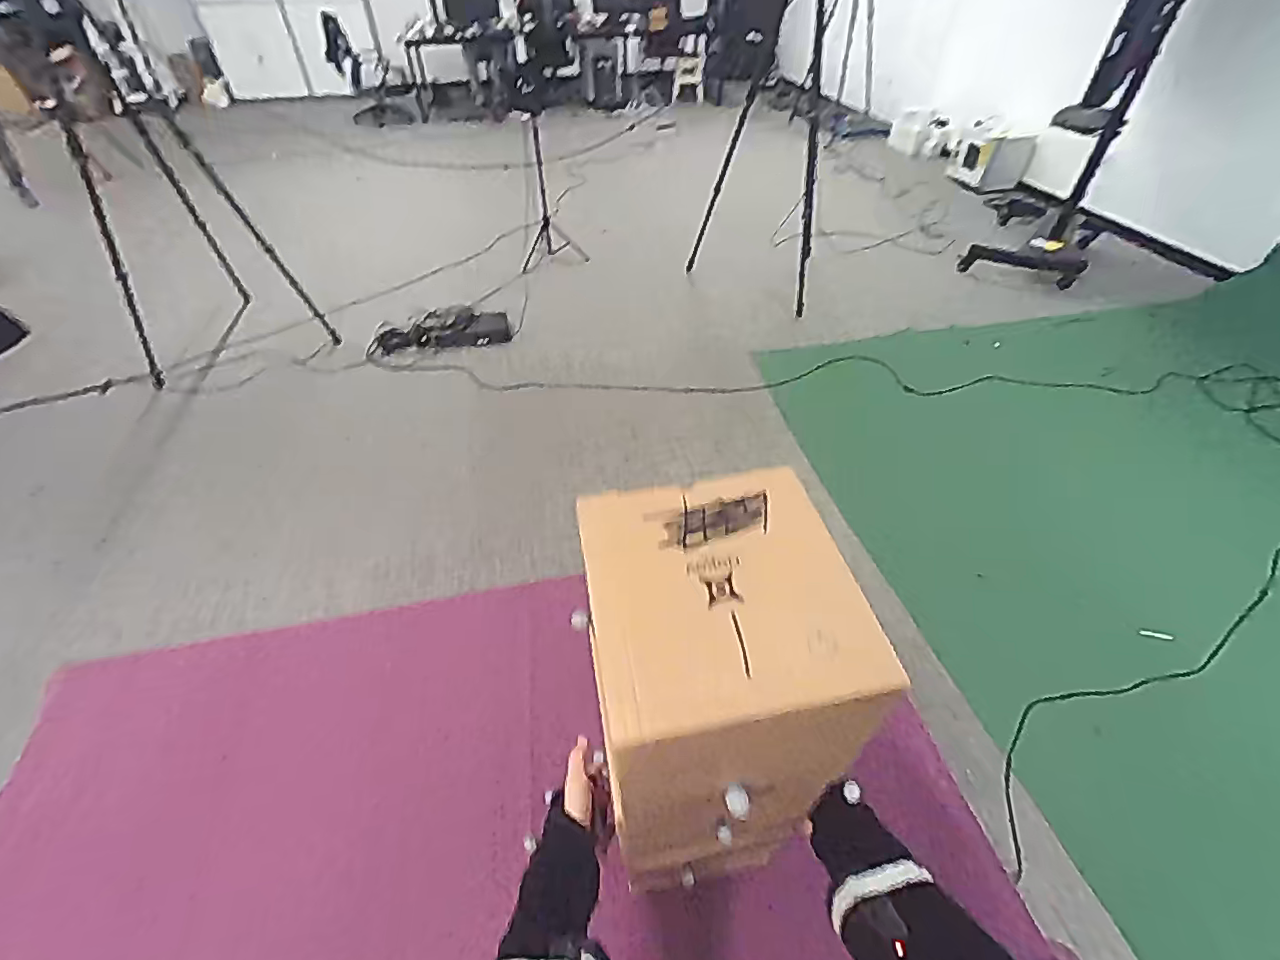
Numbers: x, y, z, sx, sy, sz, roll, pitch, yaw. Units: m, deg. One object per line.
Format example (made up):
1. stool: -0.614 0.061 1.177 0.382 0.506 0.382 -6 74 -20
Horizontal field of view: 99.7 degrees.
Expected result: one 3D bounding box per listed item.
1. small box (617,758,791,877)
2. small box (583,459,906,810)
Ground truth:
1. small box: 0.059 0.342 0.637 0.168 0.176 0.179 -8 45 -7
2. small box: 0.053 0.112 0.401 0.168 0.176 0.179 -9 46 -7
